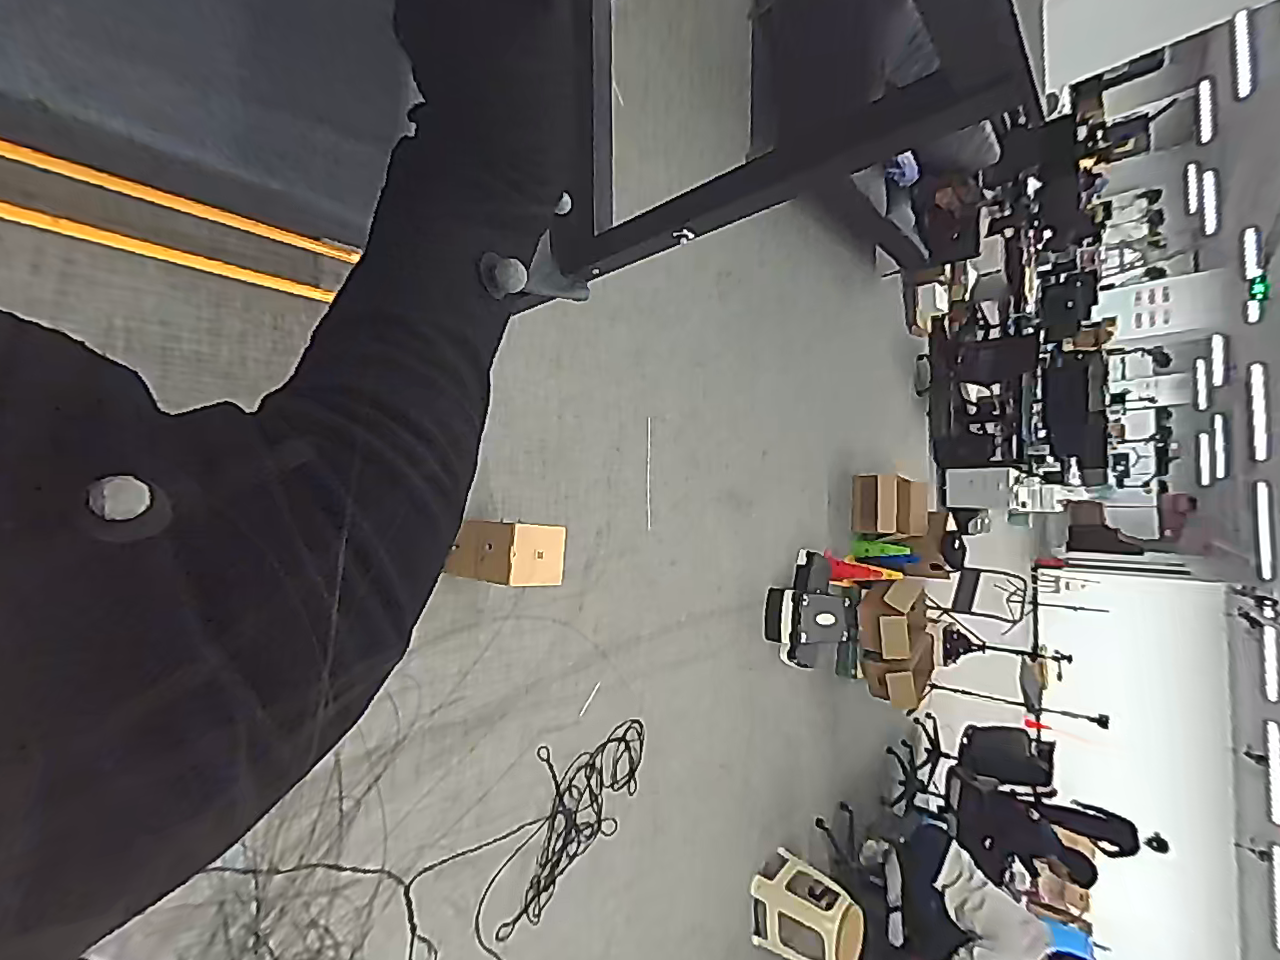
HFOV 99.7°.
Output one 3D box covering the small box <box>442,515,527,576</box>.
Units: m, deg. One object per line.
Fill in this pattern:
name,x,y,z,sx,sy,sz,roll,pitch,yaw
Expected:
small box,-0.467,0.196,1.629,0.179,0.176,0.168,12,80,-46
